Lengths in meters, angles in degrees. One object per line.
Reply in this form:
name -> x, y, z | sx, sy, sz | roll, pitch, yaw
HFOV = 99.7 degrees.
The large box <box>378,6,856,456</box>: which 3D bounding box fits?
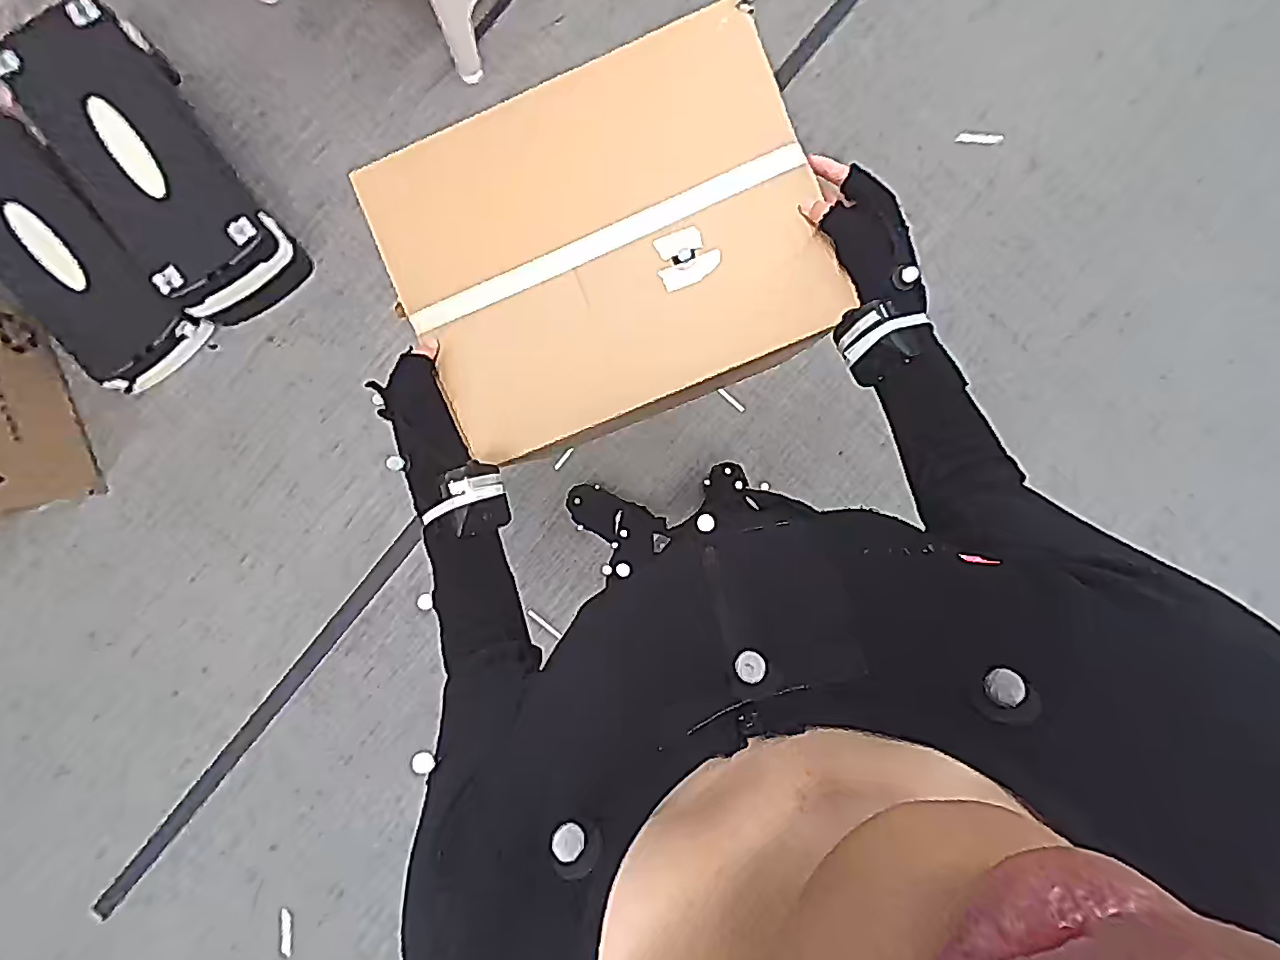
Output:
large box -> -0.020, -0.247, 0.681 | 0.408, 0.320, 0.320 | -21, 94, 4
